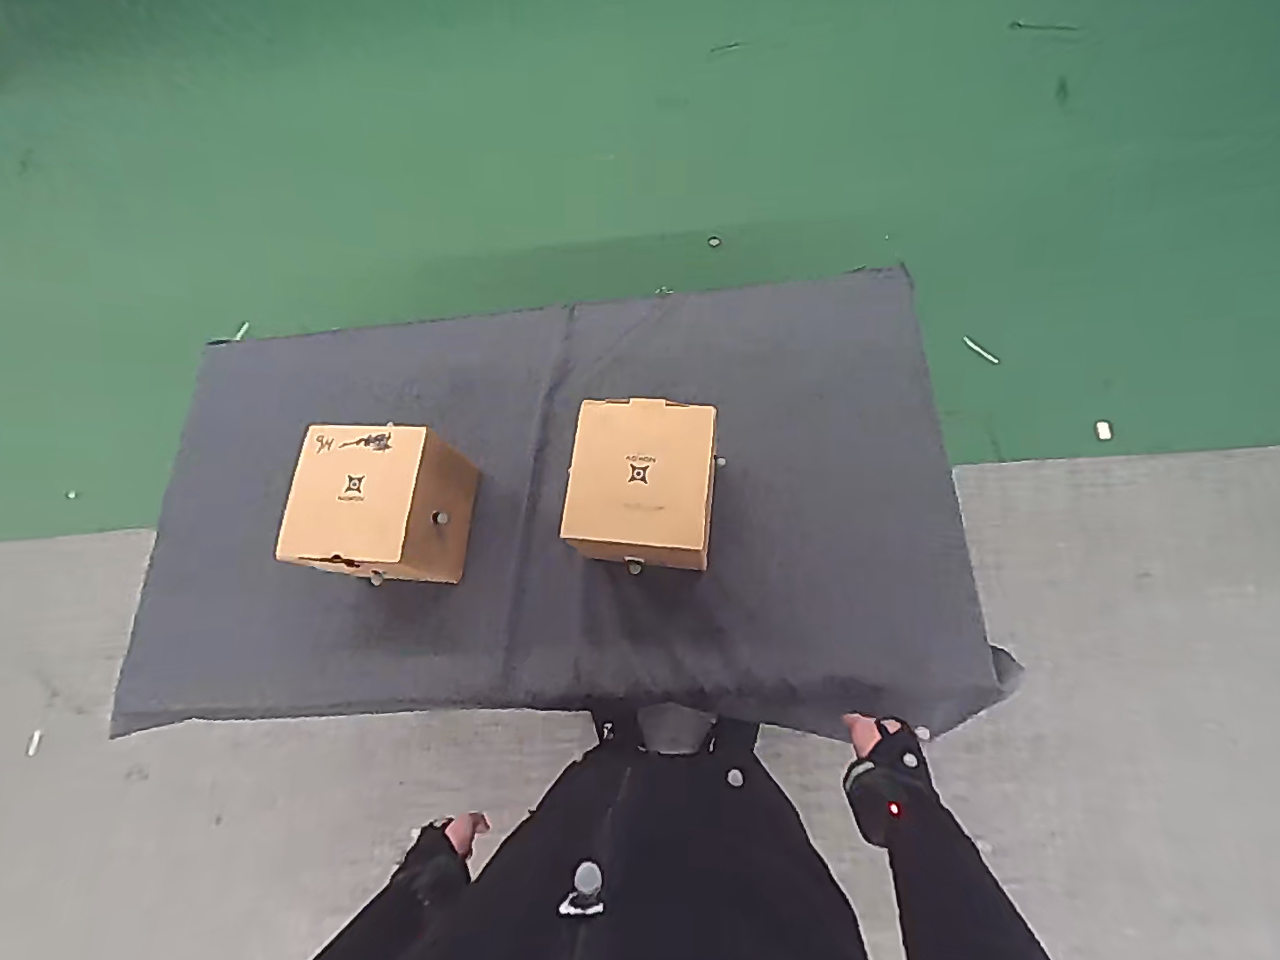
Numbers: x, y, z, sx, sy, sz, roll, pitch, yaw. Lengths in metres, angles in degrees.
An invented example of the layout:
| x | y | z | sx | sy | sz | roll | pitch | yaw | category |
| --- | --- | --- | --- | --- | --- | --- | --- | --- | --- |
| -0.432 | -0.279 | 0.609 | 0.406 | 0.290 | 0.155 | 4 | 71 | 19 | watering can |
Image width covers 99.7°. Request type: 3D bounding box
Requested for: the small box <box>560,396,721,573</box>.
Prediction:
| x | y | z | sx | sy | sz | roll | pitch | yaw | category |
| --- | --- | --- | --- | --- | --- | --- | --- | --- | --- |
| 0.013 | 0.012 | 0.691 | 0.168 | 0.176 | 0.179 | 5 | 73 | 11 | small box |

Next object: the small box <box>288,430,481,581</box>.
| x | y | z | sx | sy | sz | roll | pitch | yaw | category |
| --- | --- | --- | --- | --- | --- | --- | --- | --- | --- |
| -0.336 | 0.044 | 0.747 | 0.168 | 0.176 | 0.179 | -1 | 71 | 9 | small box |
